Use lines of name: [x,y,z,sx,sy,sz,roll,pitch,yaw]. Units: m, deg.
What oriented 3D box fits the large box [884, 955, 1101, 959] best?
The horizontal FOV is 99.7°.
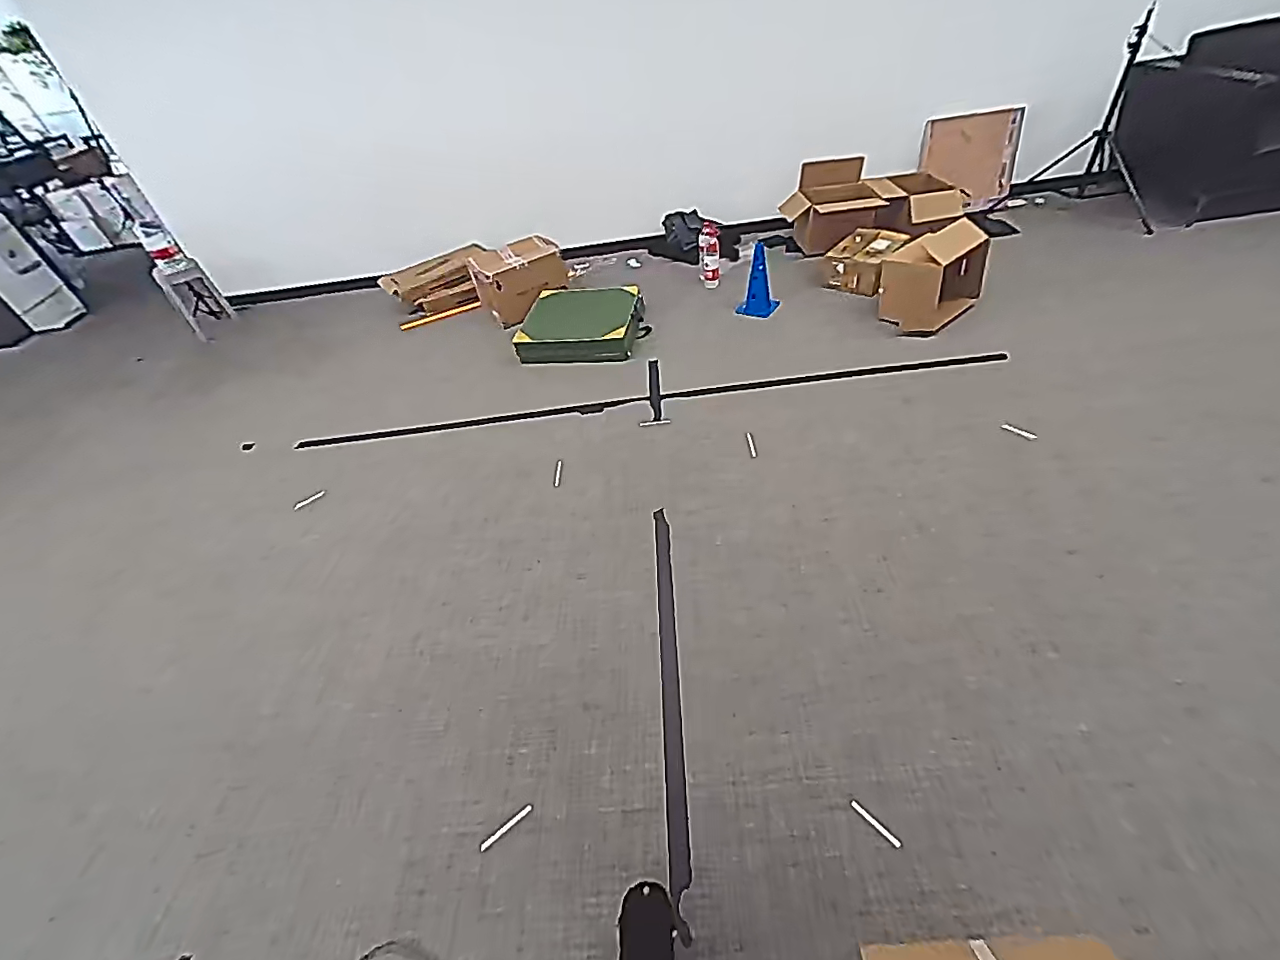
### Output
large box: [0.450,0.774,0.520,0.320,0.408,0.320,-9,83,7]
